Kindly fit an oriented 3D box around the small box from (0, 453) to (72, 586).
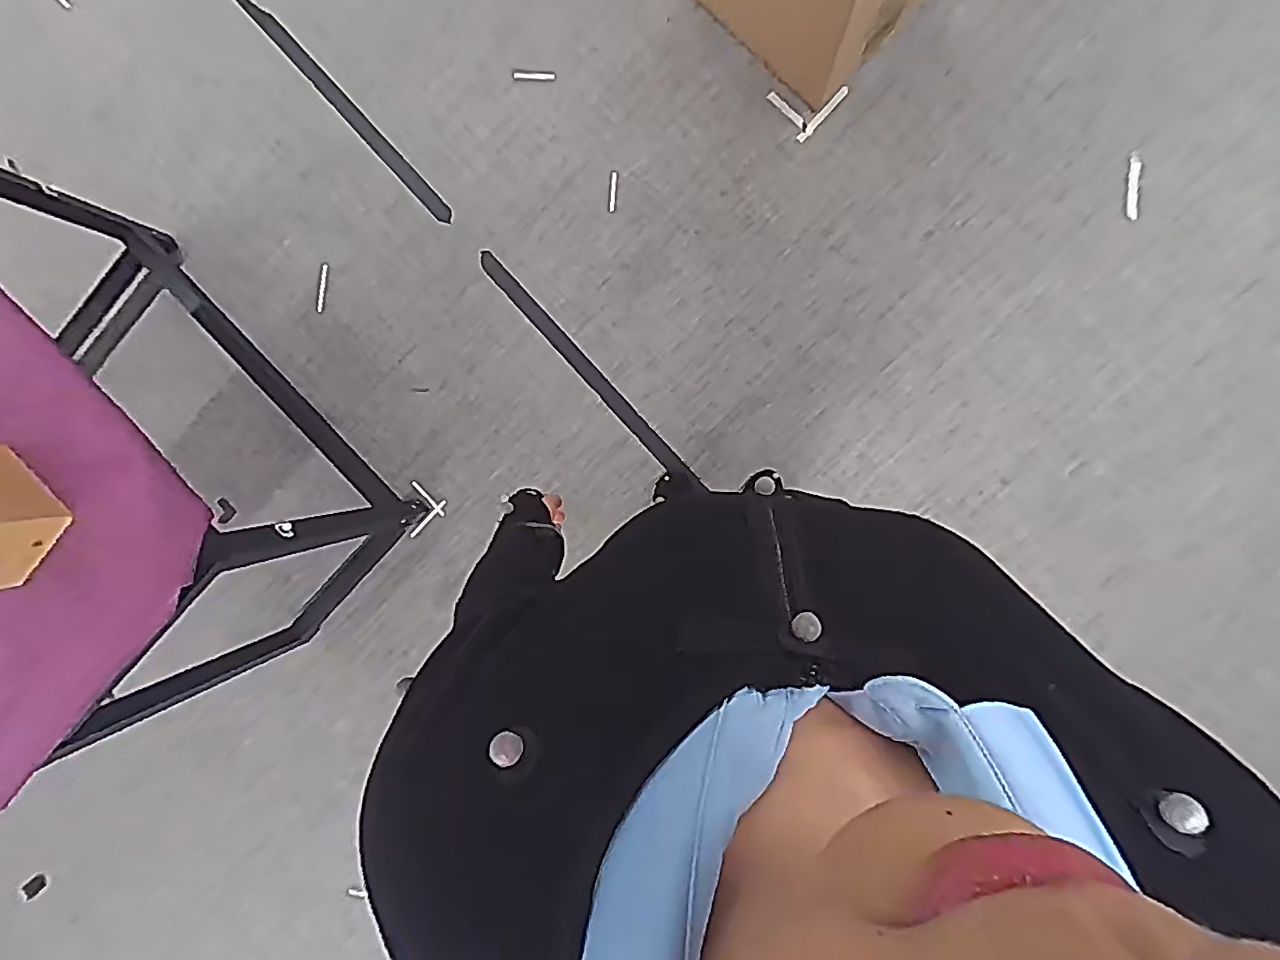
[{"bbox_3d":[-1.057,0.066,0.833,0.179,0.176,0.168,43,96,4],"label":"small box"}]
